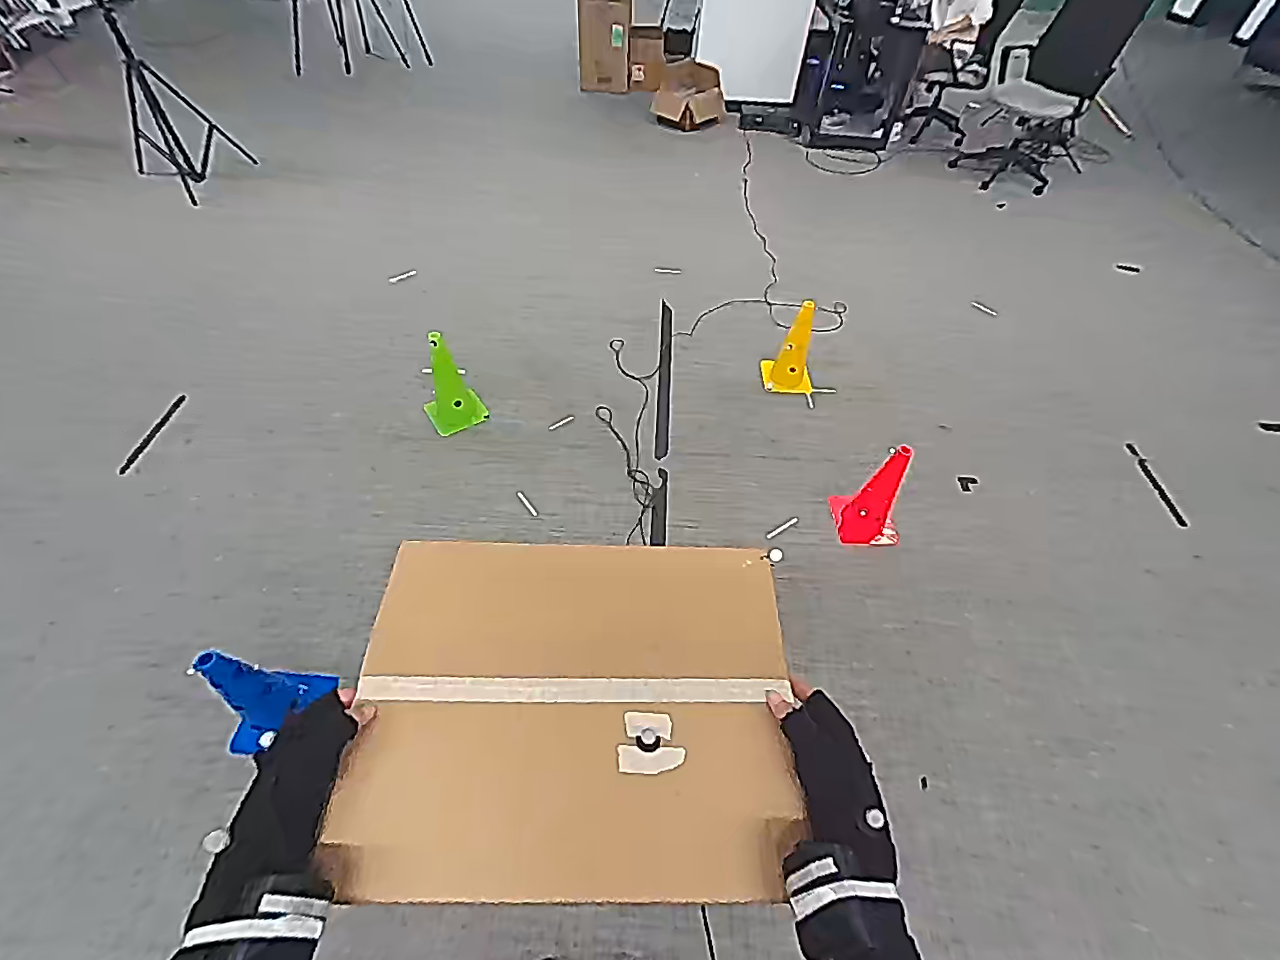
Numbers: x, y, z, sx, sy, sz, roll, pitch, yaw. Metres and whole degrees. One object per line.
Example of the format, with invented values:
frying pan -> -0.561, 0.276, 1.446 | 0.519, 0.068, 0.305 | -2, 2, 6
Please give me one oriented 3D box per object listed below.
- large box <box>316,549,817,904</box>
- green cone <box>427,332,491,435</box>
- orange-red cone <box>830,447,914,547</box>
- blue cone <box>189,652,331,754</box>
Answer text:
large box -> -0.064, 0.293, 0.632 | 0.408, 0.320, 0.320 | 2, 53, -2
green cone -> -0.695, -0.376, 1.953 | 0.202, 0.368, 0.200 | -28, 57, -22
orange-red cone -> 0.767, 0.029, 1.705 | 0.198, 0.360, 0.199 | 2, 49, -3
blue cone -> -0.901, 0.489, 1.252 | 0.192, 0.380, 0.193 | 5, 50, 3
